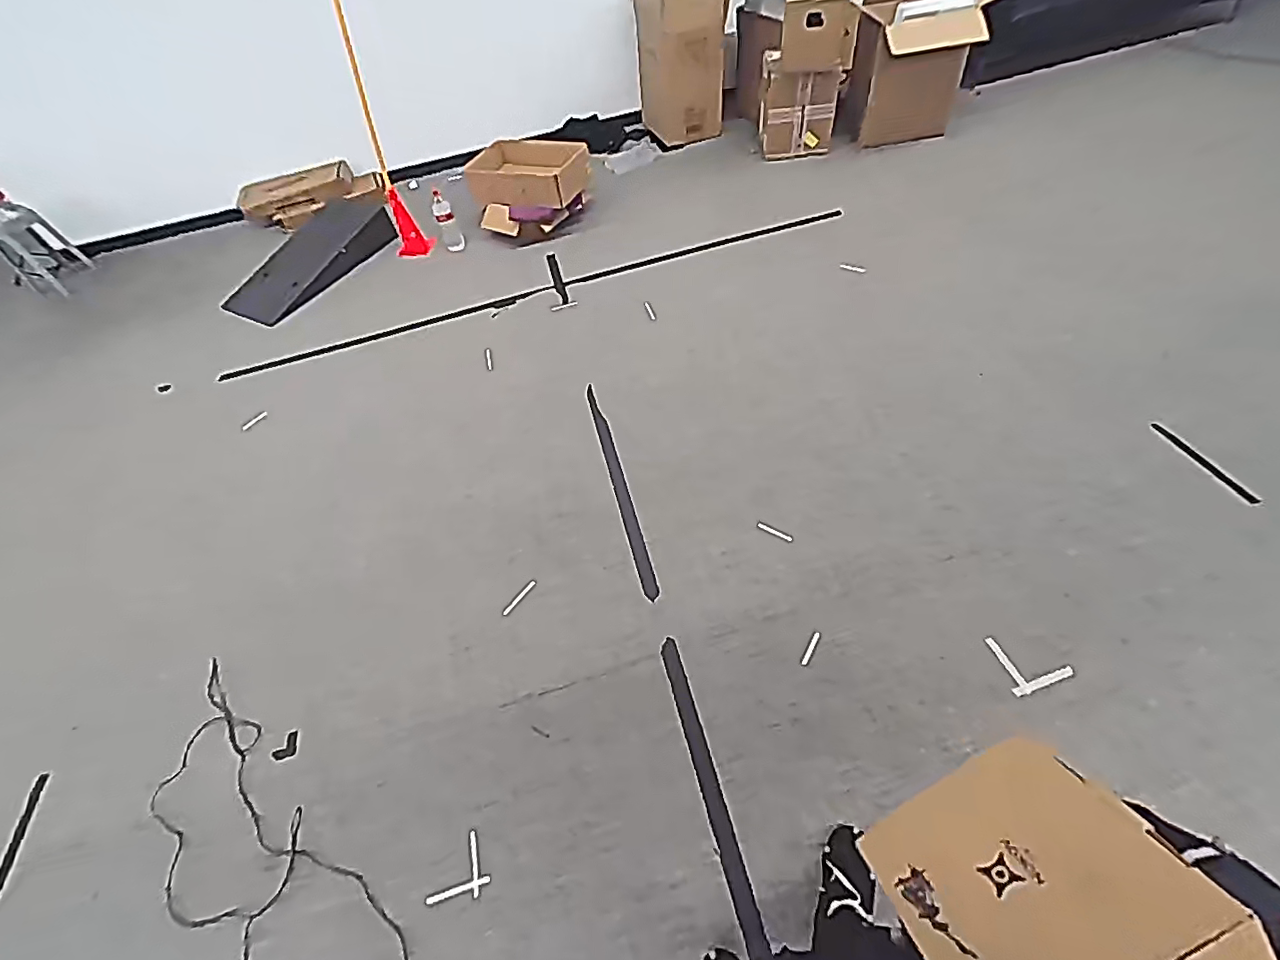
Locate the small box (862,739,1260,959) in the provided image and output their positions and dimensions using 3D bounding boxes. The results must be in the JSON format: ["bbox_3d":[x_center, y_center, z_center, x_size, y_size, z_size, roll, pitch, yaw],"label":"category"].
[{"bbox_3d":[0.316,0.352,0.412,0.179,0.176,0.168,-34,12,0],"label":"small box"}]
